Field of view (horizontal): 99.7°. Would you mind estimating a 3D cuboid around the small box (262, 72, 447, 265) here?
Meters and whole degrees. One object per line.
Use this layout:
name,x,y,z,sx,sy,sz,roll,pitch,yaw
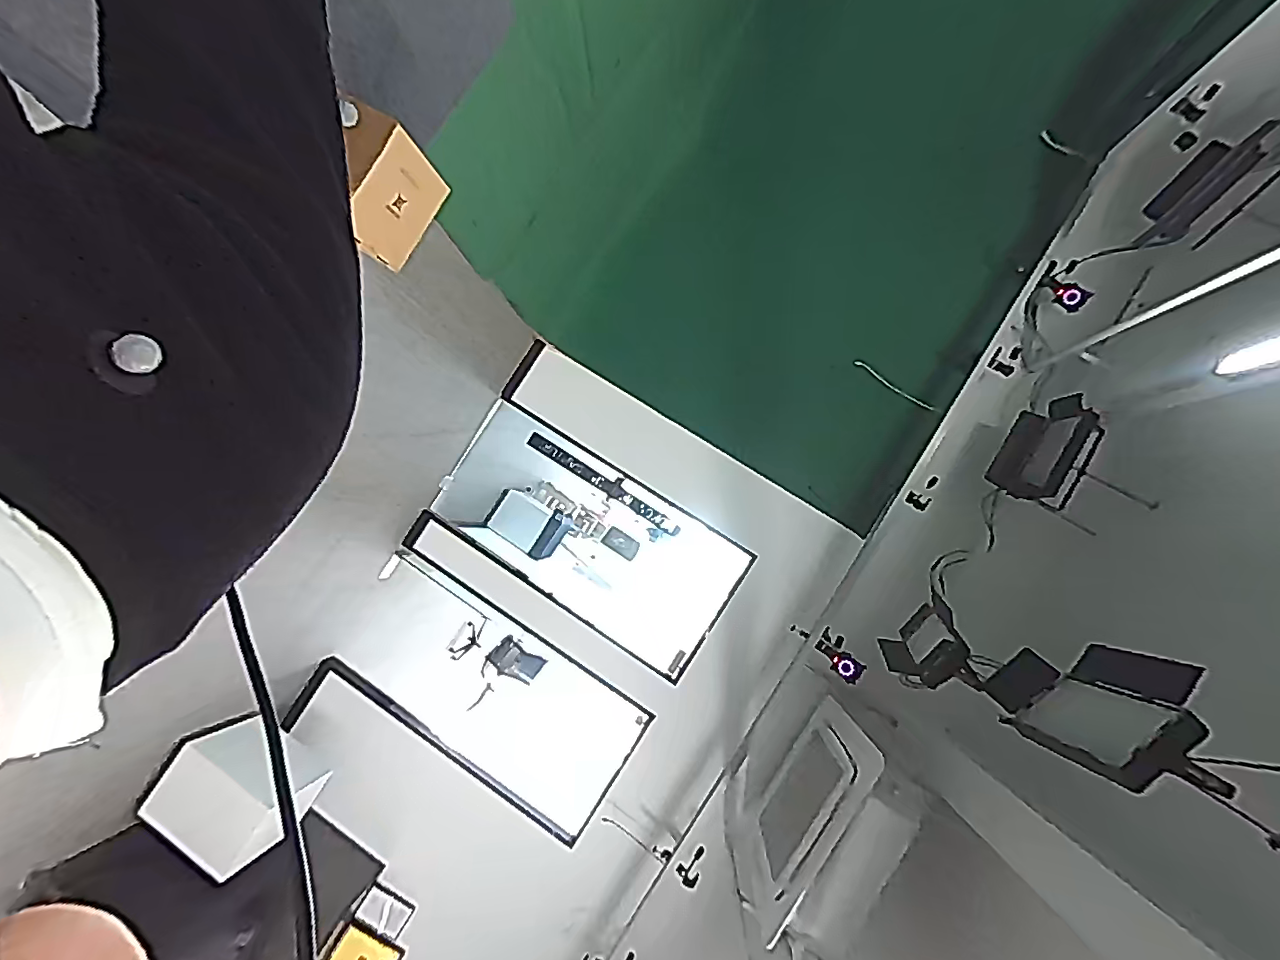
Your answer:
small box,-0.458,-0.495,0.873,0.179,0.176,0.168,-58,173,0
